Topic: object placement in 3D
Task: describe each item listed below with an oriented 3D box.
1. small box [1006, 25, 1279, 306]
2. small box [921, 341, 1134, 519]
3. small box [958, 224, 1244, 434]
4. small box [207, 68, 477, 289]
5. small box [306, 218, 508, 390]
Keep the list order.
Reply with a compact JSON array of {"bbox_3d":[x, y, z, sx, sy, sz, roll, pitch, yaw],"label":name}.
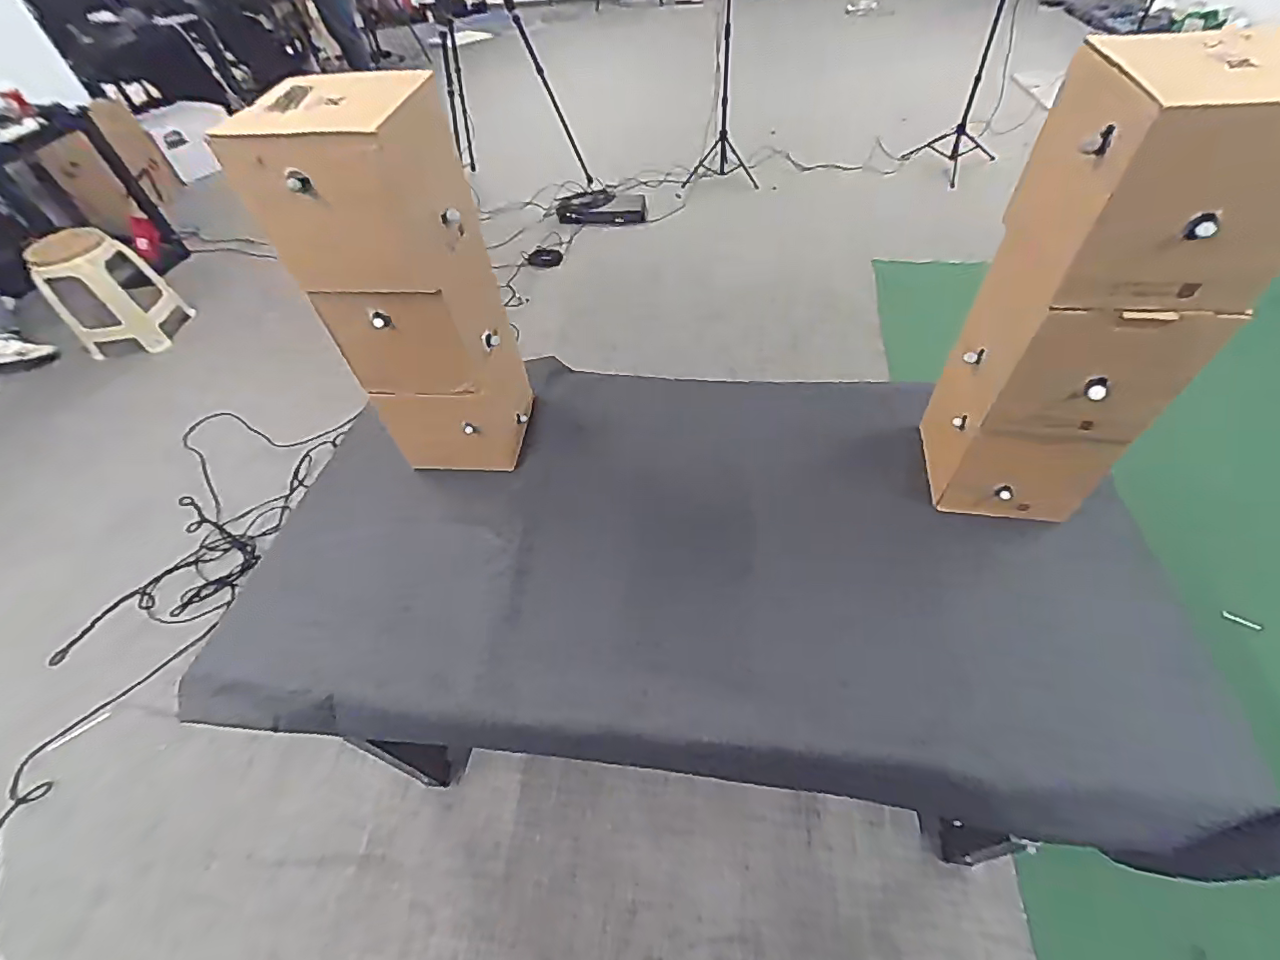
[{"bbox_3d":[0.468,-0.274,0.484,0.168,0.176,0.179,5,52,9],"label":"small box"},{"bbox_3d":[0.505,-0.072,0.741,0.168,0.176,0.179,5,52,10],"label":"small box"},{"bbox_3d":[0.488,-0.170,0.612,0.168,0.176,0.179,6,53,10],"label":"small box"},{"bbox_3d":[-0.309,-0.333,0.607,0.179,0.176,0.168,3,53,6],"label":"small box"},{"bbox_3d":[-0.300,-0.238,0.741,0.179,0.176,0.168,2,53,5],"label":"small box"}]
